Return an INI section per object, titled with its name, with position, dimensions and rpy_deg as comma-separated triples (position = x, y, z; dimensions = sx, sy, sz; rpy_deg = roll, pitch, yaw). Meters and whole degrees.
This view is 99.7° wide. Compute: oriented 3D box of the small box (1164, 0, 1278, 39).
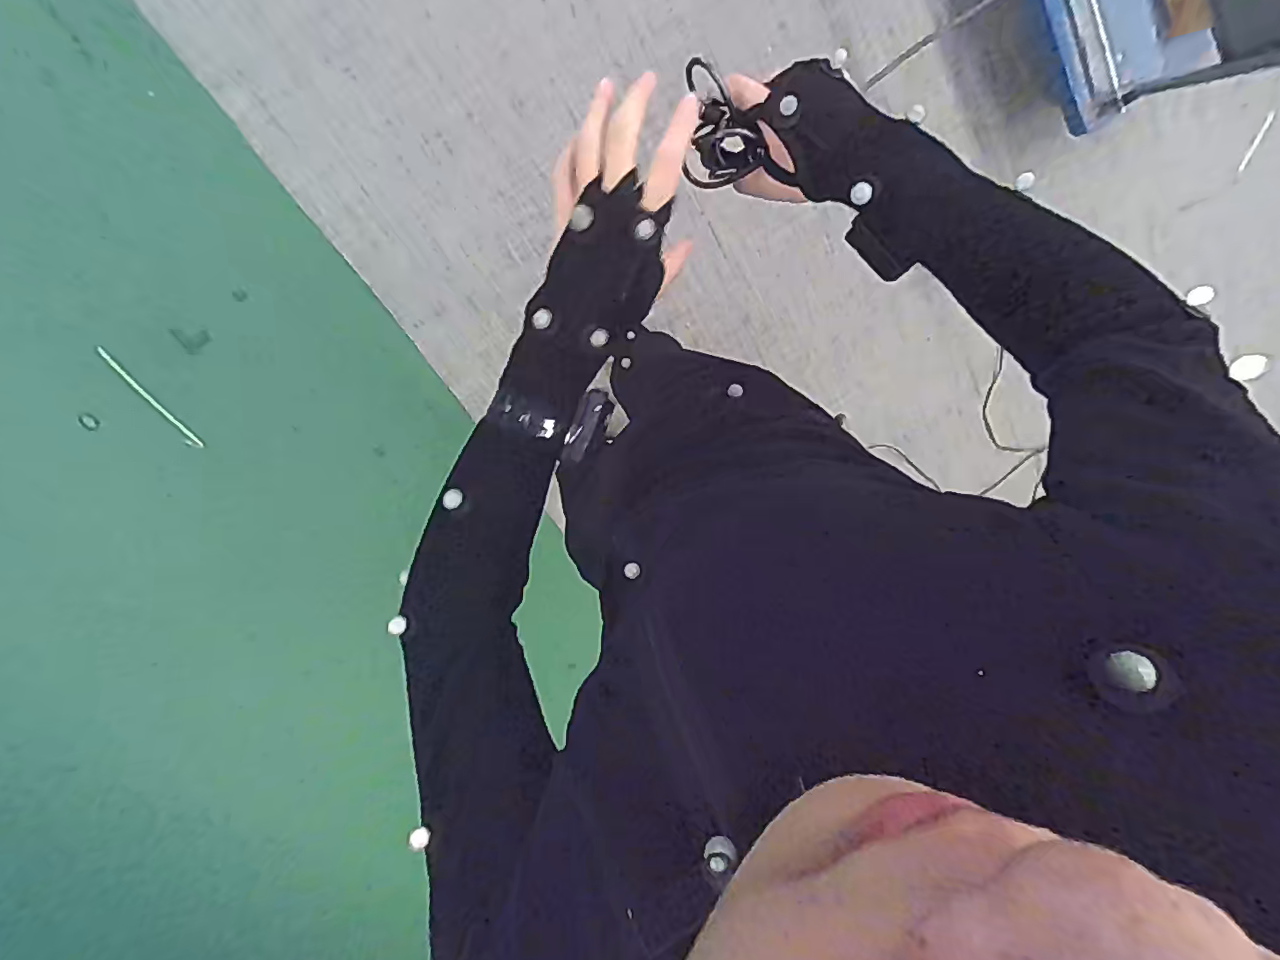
[small box]
position = 1.188, -1.023, 1.055
dimensions = 0.179, 0.176, 0.168
rpy_deg = -34, 112, 10
